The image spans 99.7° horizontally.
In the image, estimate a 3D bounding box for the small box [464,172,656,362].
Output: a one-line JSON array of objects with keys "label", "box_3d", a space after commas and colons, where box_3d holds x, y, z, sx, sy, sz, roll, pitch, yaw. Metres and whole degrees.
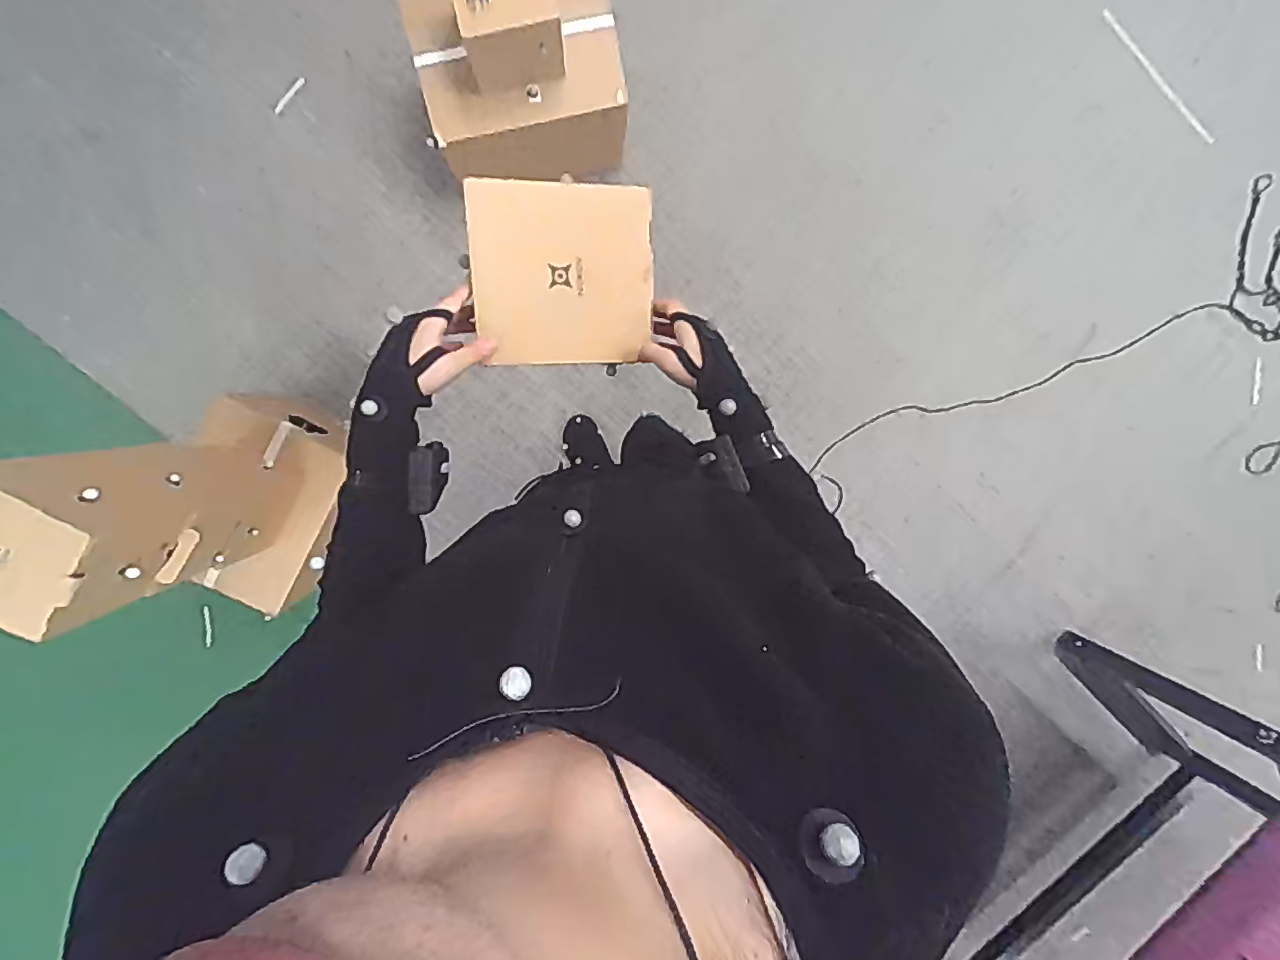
[{"label": "small box", "box_3d": [-0.088, -0.215, 0.589, 0.179, 0.176, 0.168, -5, 103, -13]}]

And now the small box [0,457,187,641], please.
[{"label": "small box", "box_3d": [-0.791, 0.081, 0.744, 0.179, 0.176, 0.168, 32, 94, -10]}]

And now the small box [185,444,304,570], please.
[{"label": "small box", "box_3d": [-0.812, 0.045, 1.070, 0.168, 0.176, 0.179, 31, 94, -9]}]

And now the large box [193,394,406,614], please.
[{"label": "large box", "box_3d": [-0.840, 0.036, 1.314, 0.320, 0.320, 0.408, 28, 96, -6]}]

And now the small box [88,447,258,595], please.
[{"label": "small box", "box_3d": [-0.799, 0.057, 0.907, 0.179, 0.176, 0.168, 33, 94, -8]}]
